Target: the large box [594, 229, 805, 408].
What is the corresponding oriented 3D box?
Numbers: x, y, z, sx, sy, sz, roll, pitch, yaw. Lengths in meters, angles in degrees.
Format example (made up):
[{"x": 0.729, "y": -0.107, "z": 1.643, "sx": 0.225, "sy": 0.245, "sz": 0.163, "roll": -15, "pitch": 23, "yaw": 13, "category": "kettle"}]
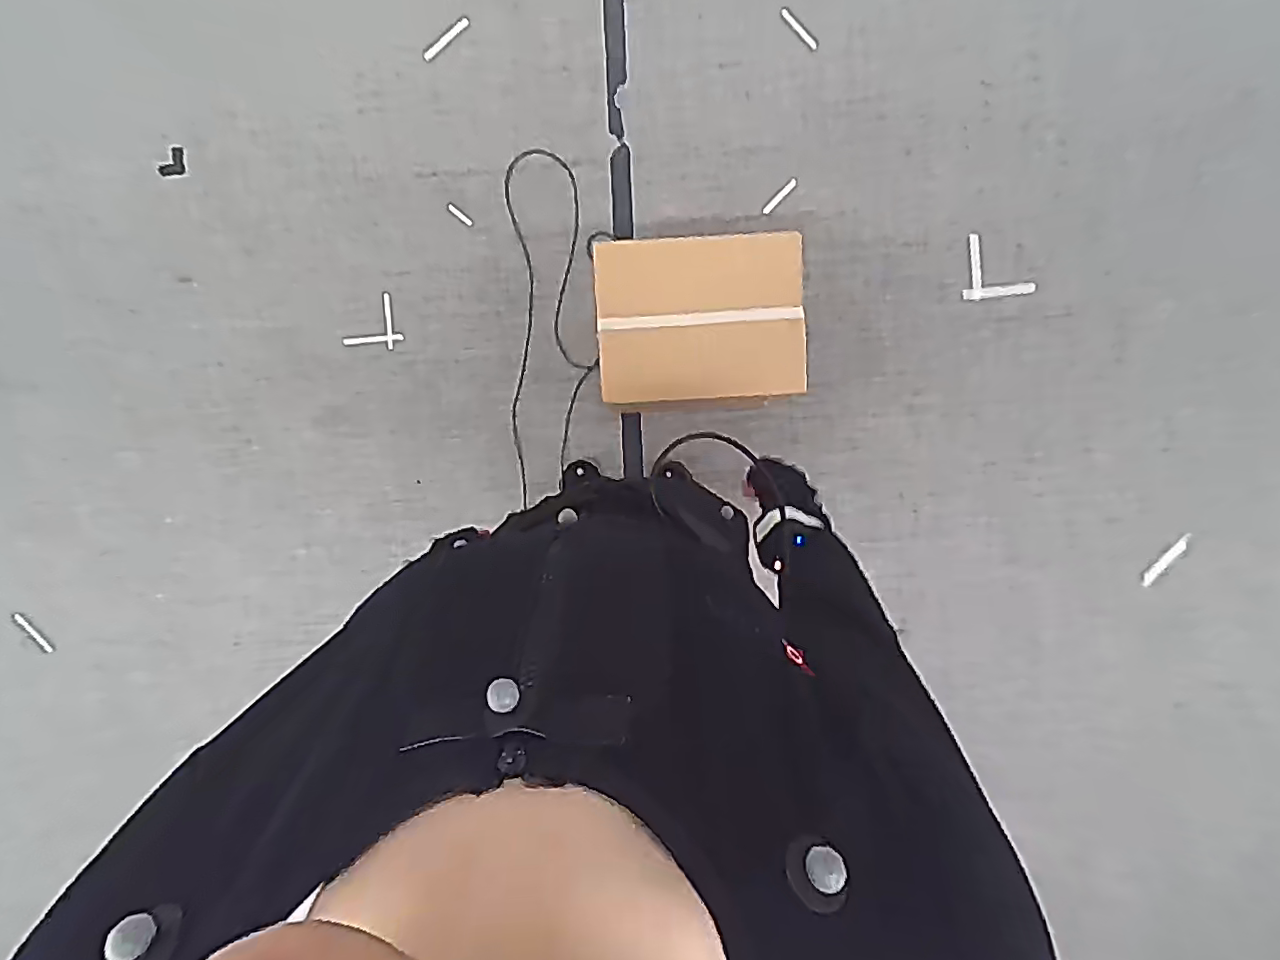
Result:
[{"x": 0.120, "y": -0.333, "z": 1.206, "sx": 0.408, "sy": 0.320, "sz": 0.320, "roll": -3, "pitch": 93, "yaw": 0, "category": "large box"}]
